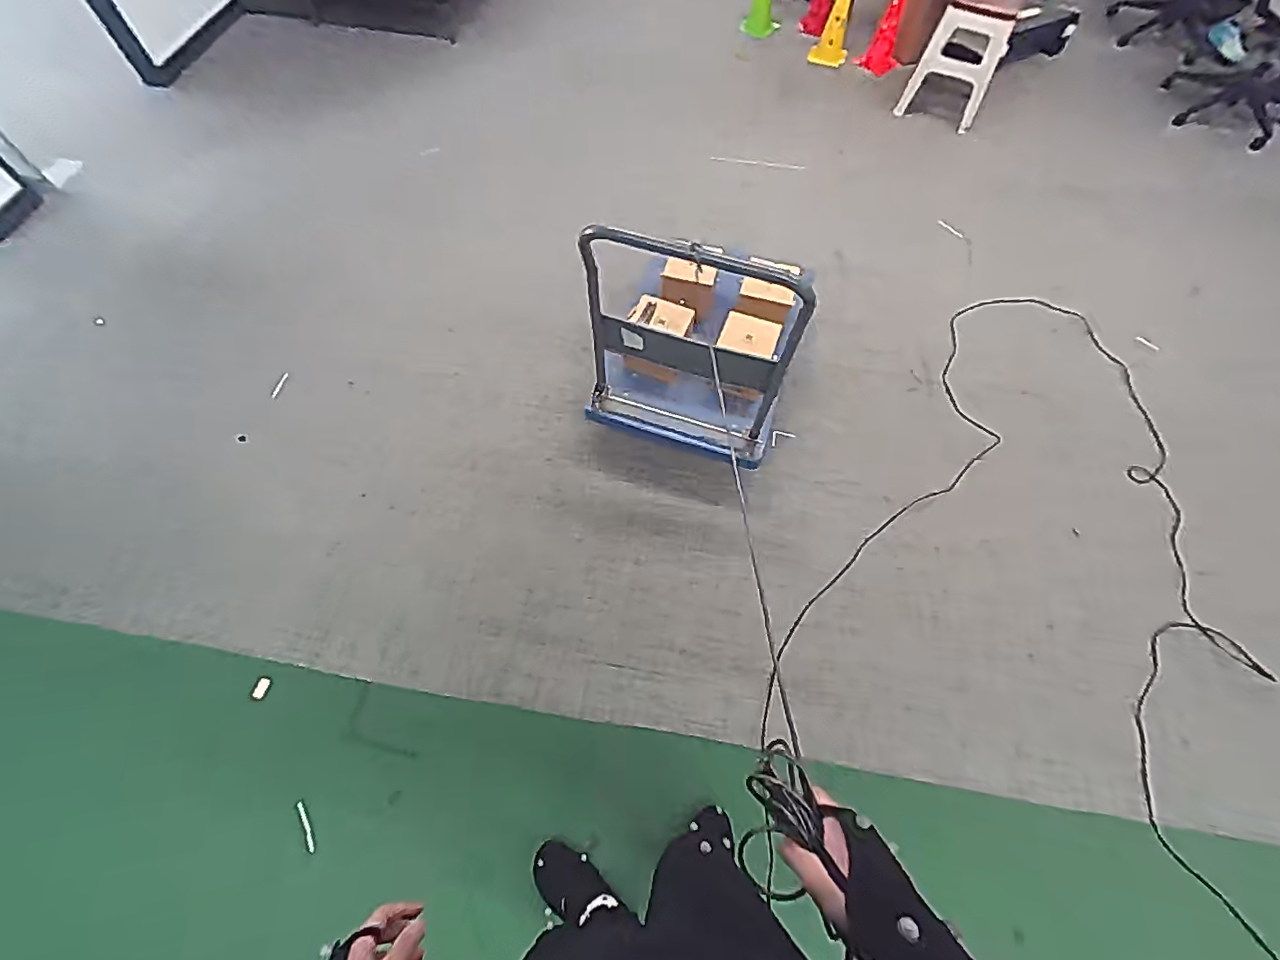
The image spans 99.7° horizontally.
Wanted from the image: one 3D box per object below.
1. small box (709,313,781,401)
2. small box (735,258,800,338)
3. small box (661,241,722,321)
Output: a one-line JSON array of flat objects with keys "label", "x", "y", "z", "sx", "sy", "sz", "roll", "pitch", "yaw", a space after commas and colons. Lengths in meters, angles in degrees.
[{"label": "small box", "x": 0.320, "y": -0.378, "z": 1.675, "sx": 0.168, "sy": 0.176, "sz": 0.179, "roll": 19, "pitch": 64, "yaw": 8}, {"label": "small box", "x": 0.413, "y": -0.591, "z": 1.785, "sx": 0.168, "sy": 0.176, "sz": 0.179, "roll": 16, "pitch": 64, "yaw": 8}, {"label": "small box", "x": 0.169, "y": -0.664, "z": 1.817, "sx": 0.168, "sy": 0.176, "sz": 0.179, "roll": 15, "pitch": 63, "yaw": 6}]
